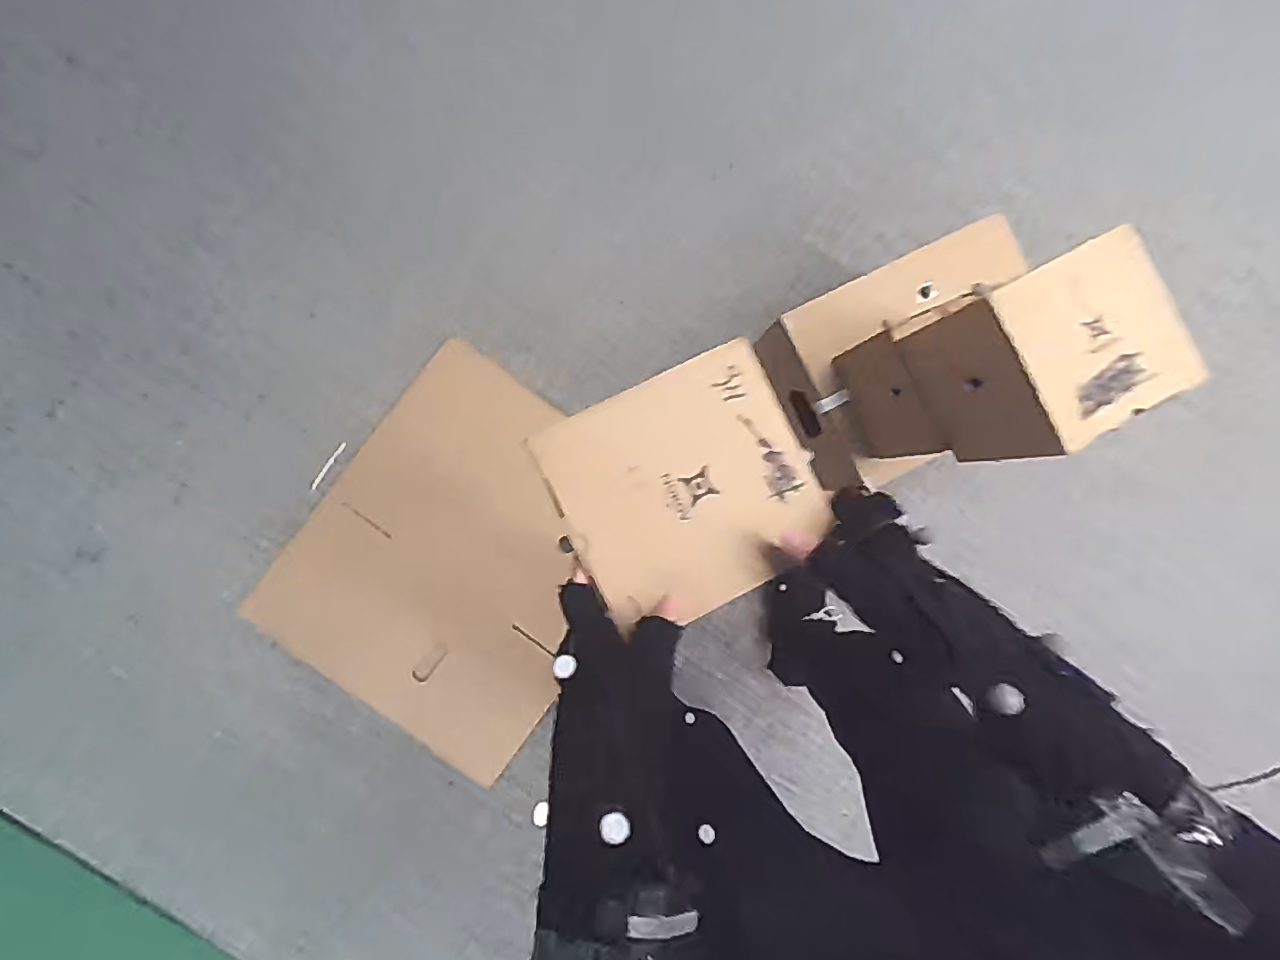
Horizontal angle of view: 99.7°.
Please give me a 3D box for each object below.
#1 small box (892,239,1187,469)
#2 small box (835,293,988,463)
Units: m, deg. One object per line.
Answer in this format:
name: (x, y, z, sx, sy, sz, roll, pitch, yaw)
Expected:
small box: (0.431, -0.127, 0.614, 0.168, 0.176, 0.179, -31, 92, -3)
small box: (0.412, -0.134, 0.777, 0.168, 0.176, 0.179, -24, 91, -4)
